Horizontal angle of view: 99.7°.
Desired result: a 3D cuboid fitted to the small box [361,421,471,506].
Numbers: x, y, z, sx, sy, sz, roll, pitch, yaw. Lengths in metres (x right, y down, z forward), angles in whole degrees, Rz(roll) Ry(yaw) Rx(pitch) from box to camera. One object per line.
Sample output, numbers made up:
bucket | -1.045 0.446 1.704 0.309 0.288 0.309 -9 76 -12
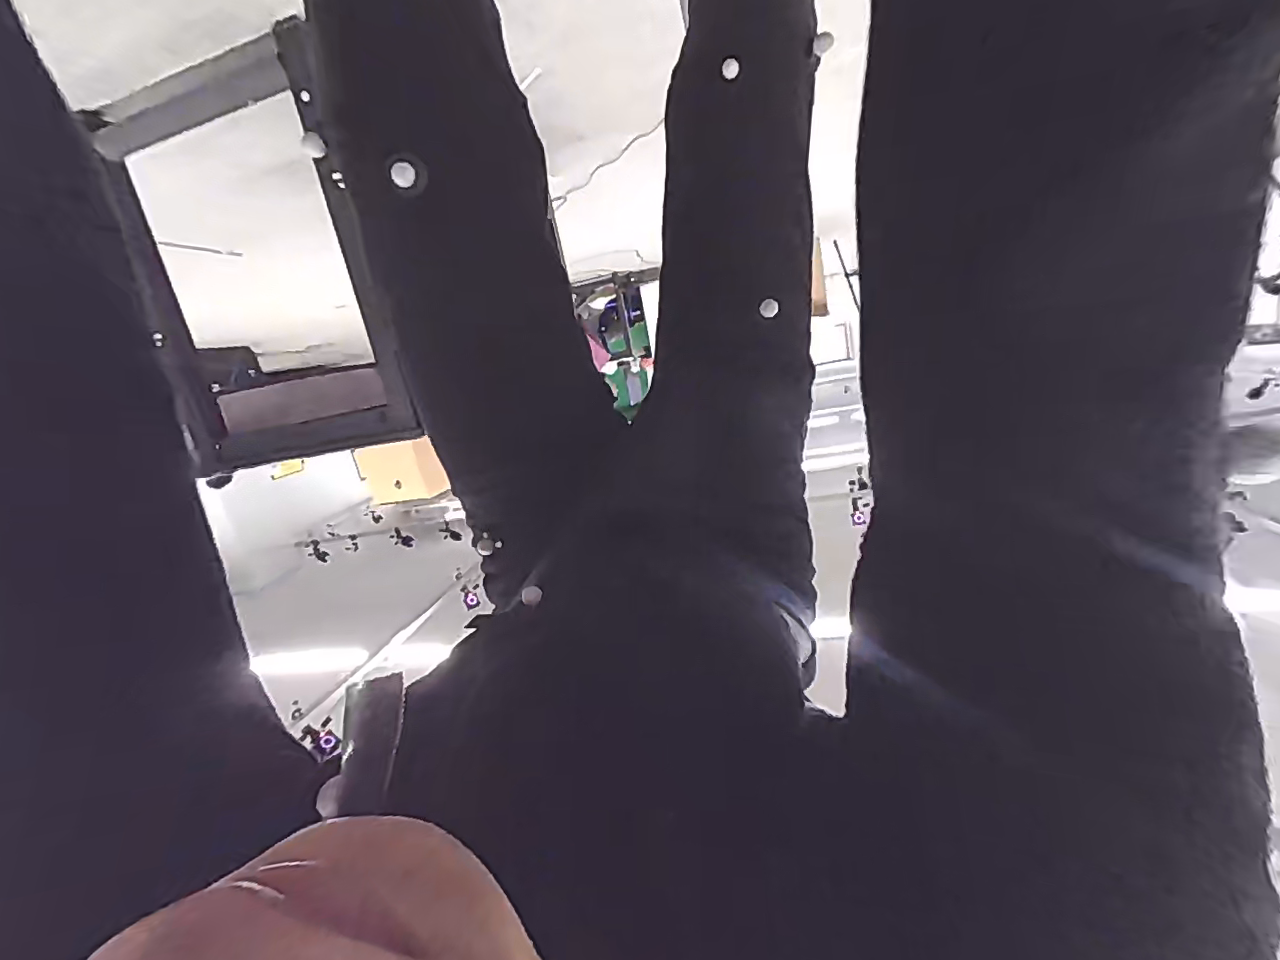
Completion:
small box | -0.565 -0.048 1.368 0.179 0.176 0.168 -6 -165 21
